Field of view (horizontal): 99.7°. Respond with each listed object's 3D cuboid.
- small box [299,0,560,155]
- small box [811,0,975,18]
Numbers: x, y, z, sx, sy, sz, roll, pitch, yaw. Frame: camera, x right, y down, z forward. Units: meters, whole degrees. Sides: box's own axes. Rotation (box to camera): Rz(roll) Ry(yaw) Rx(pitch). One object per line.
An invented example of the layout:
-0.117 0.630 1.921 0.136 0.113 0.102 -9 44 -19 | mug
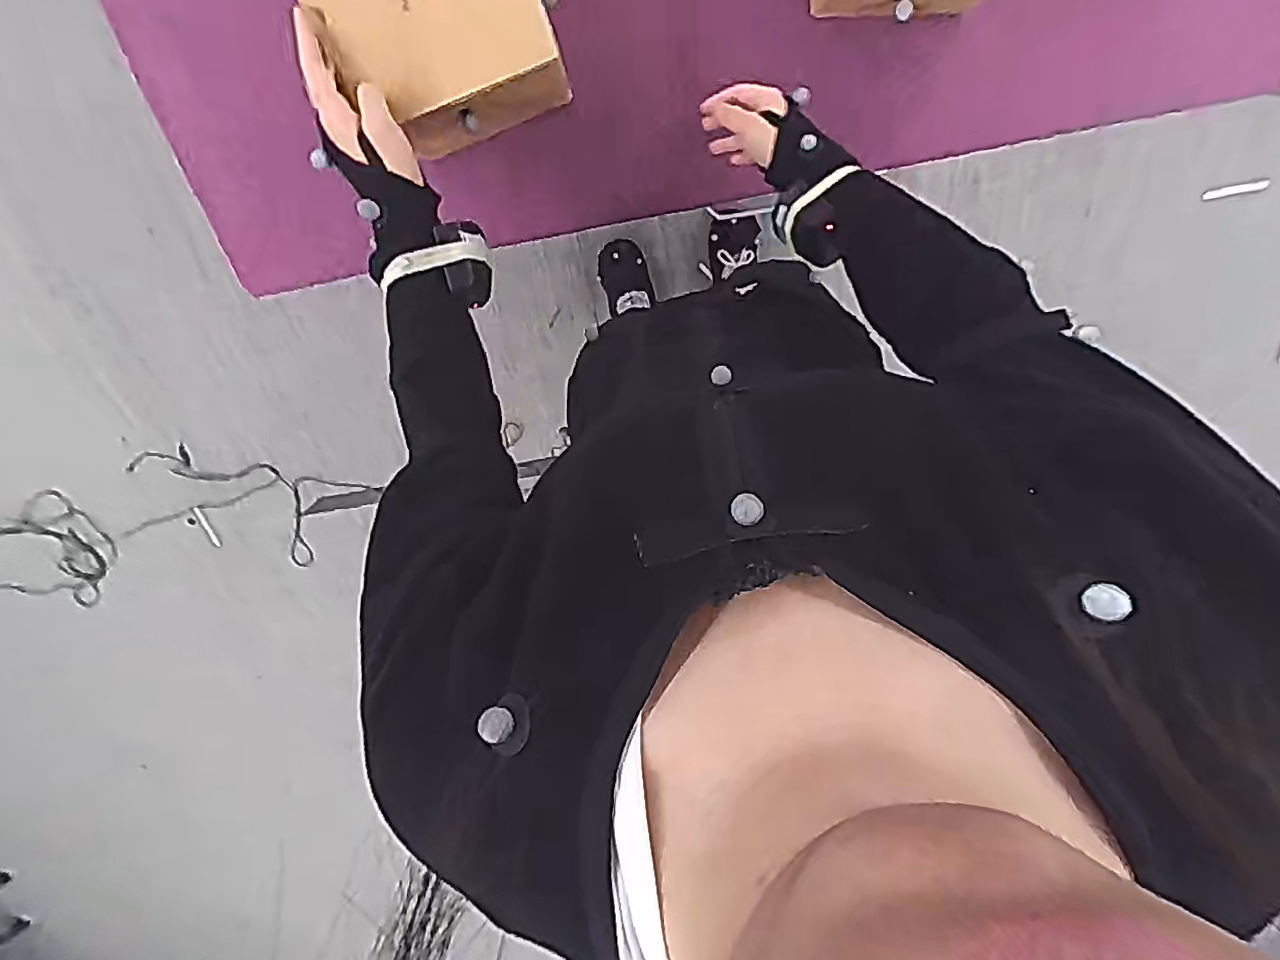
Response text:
-0.179 -0.417 0.485 0.179 0.176 0.168 -19 115 7 | small box
0.251 -0.525 0.451 0.168 0.176 0.179 -2 116 -1 | small box
